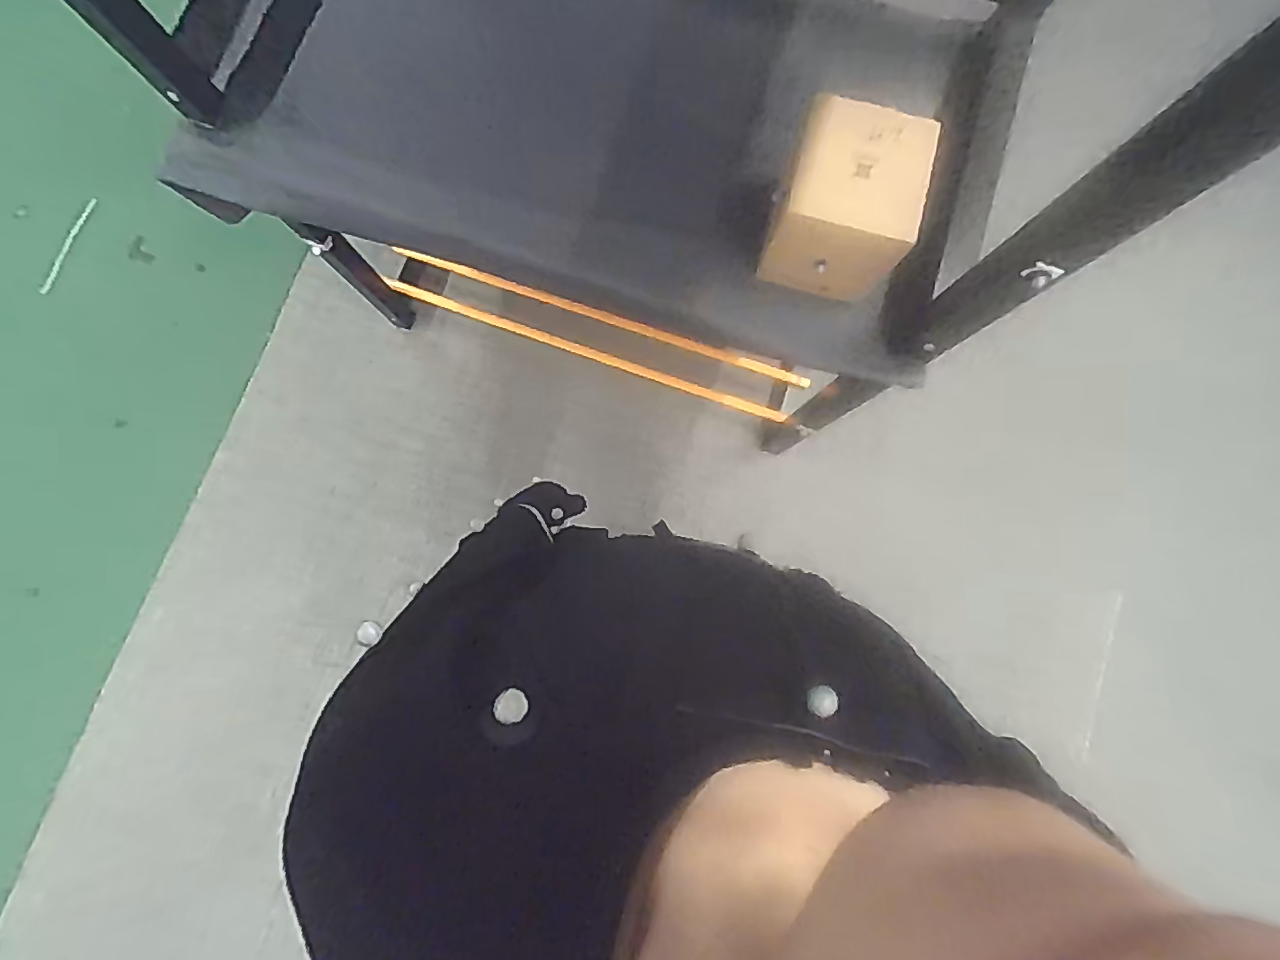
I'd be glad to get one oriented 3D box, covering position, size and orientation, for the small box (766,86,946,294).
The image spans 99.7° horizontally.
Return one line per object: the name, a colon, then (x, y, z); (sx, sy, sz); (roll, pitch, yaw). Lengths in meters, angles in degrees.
small box: (0.286, -0.389, 0.755); (0.168, 0.176, 0.179); (15, 83, 0)
